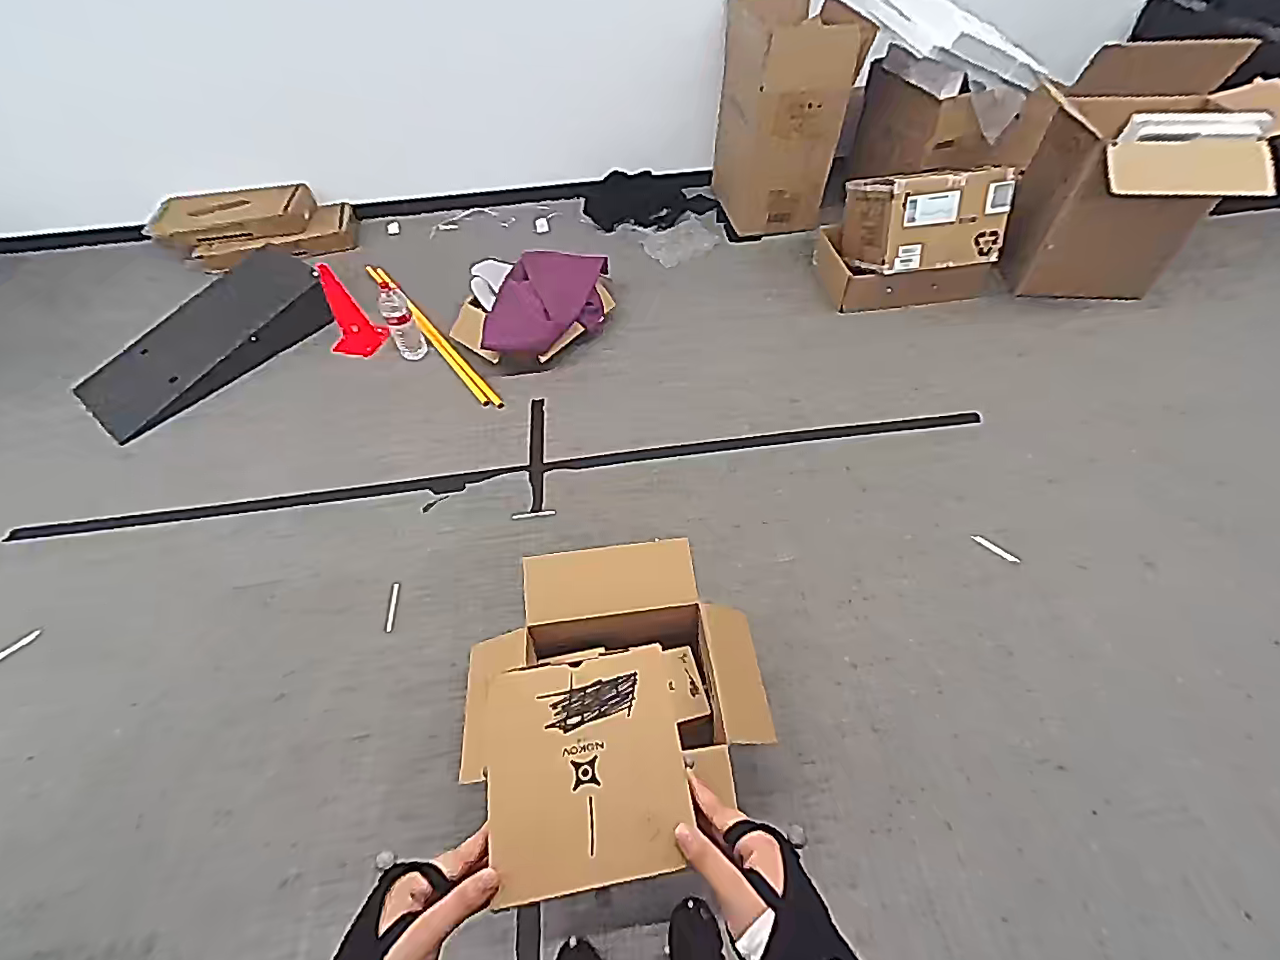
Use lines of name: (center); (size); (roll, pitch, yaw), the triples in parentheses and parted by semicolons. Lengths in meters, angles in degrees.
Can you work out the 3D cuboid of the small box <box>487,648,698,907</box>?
small box: (-0.047, 0.287, 0.526); (0.168, 0.176, 0.179); (-9, 56, -5)
